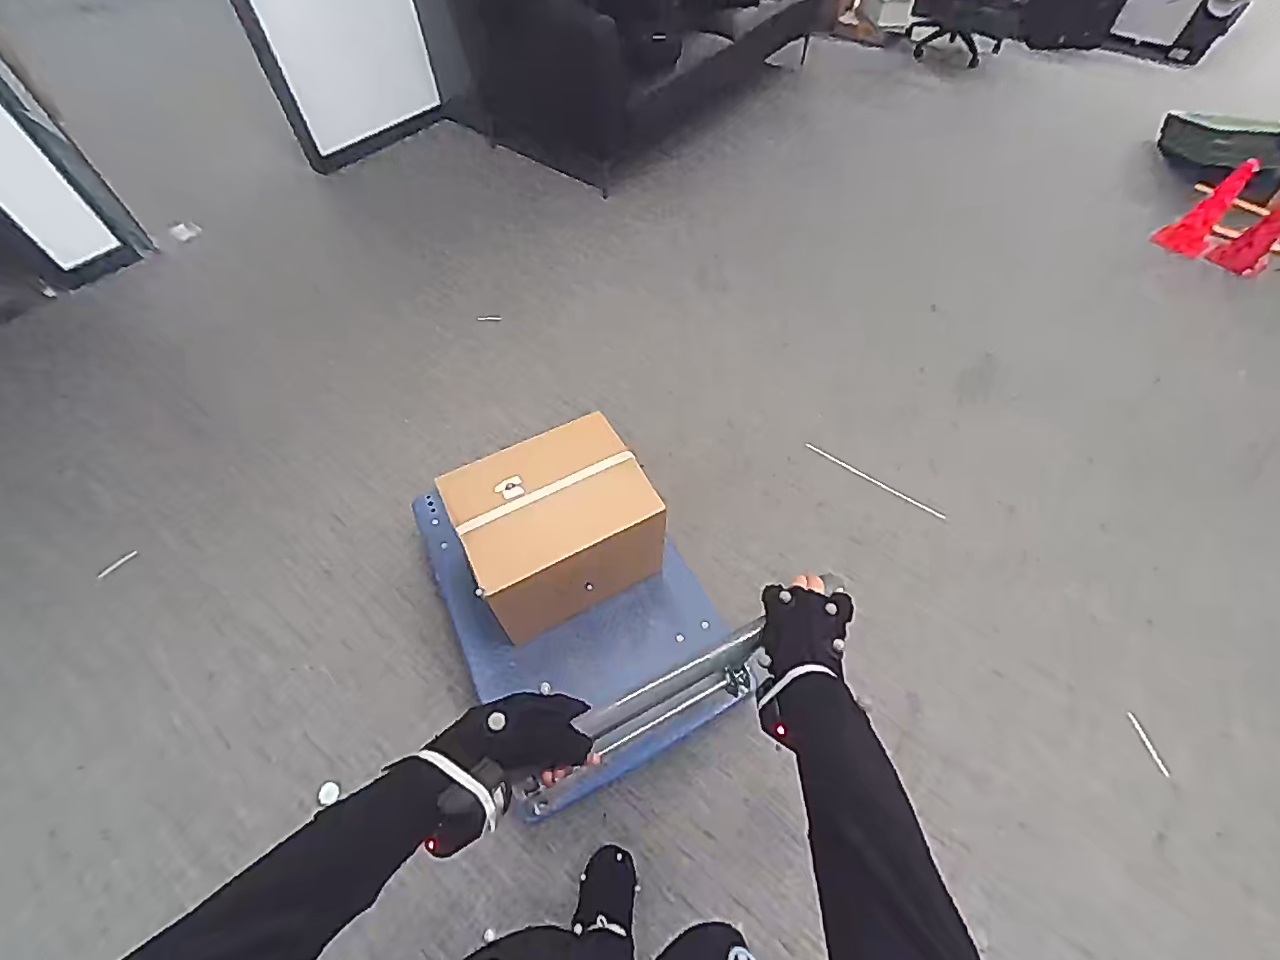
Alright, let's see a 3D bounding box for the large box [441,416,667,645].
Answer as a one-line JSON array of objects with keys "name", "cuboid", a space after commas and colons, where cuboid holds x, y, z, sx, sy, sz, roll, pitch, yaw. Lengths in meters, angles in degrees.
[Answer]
[{"name": "large box", "cuboid": [-0.187, 0.121, 1.276, 0.408, 0.320, 0.320, -26, 60, -16]}]
